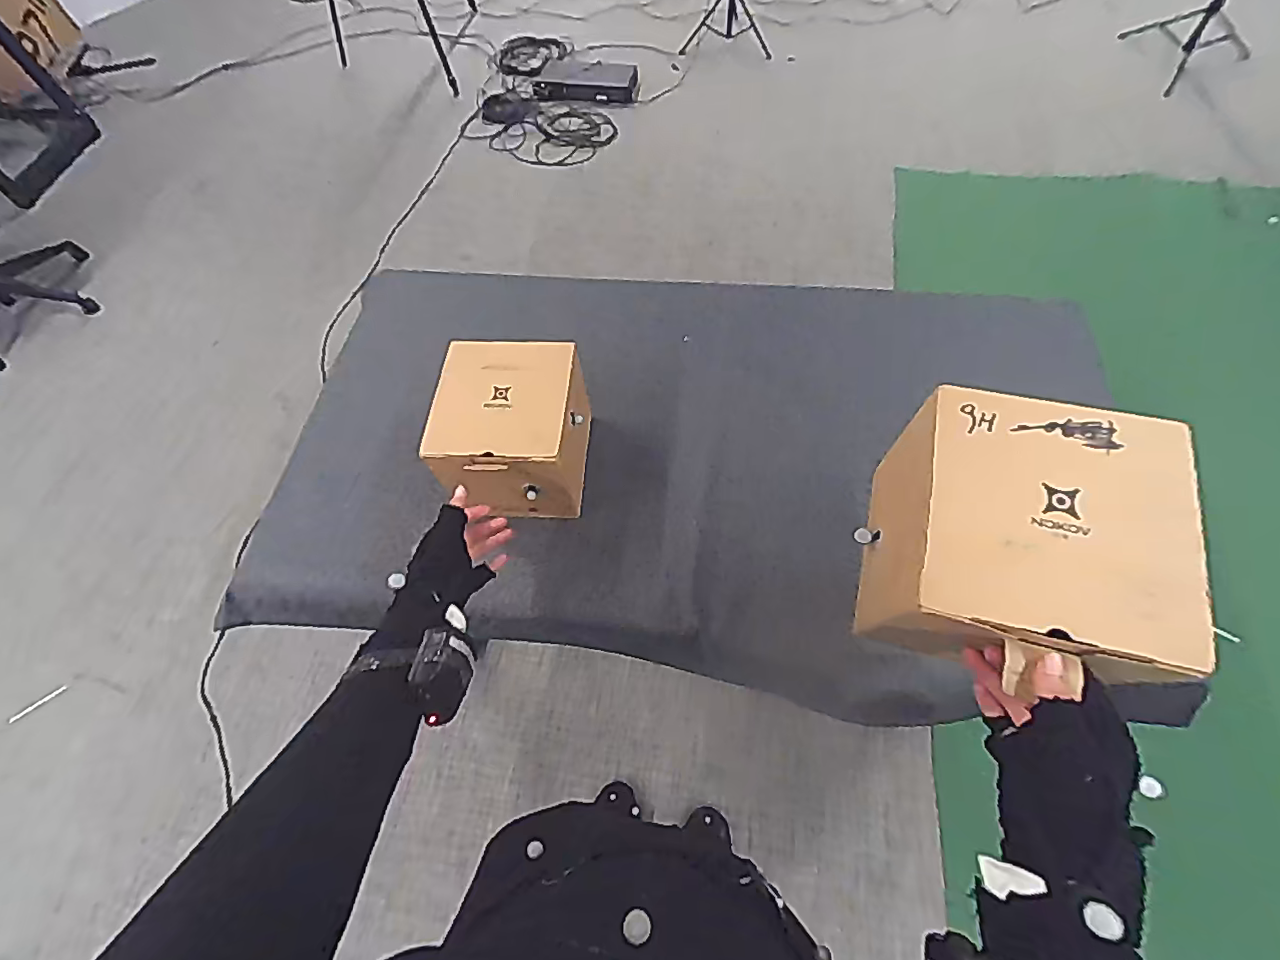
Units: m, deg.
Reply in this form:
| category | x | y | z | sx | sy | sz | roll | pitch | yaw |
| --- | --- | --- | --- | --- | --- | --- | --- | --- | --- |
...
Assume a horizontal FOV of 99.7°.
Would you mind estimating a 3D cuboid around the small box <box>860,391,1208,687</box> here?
| category | x | y | z | sx | sy | sz | roll | pitch | yaw |
| --- | --- | --- | --- | --- | --- | --- | --- | --- | --- |
| small box | 0.289 | 0.057 | 0.436 | 0.168 | 0.176 | 0.179 | 12 | 70 | 11 |

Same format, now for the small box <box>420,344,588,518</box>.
| category | x | y | z | sx | sy | sz | roll | pitch | yaw |
| --- | --- | --- | --- | --- | --- | --- | --- | --- | --- |
| small box | -0.165 | -0.059 | 0.725 | 0.168 | 0.176 | 0.179 | 1 | 61 | 3 |
